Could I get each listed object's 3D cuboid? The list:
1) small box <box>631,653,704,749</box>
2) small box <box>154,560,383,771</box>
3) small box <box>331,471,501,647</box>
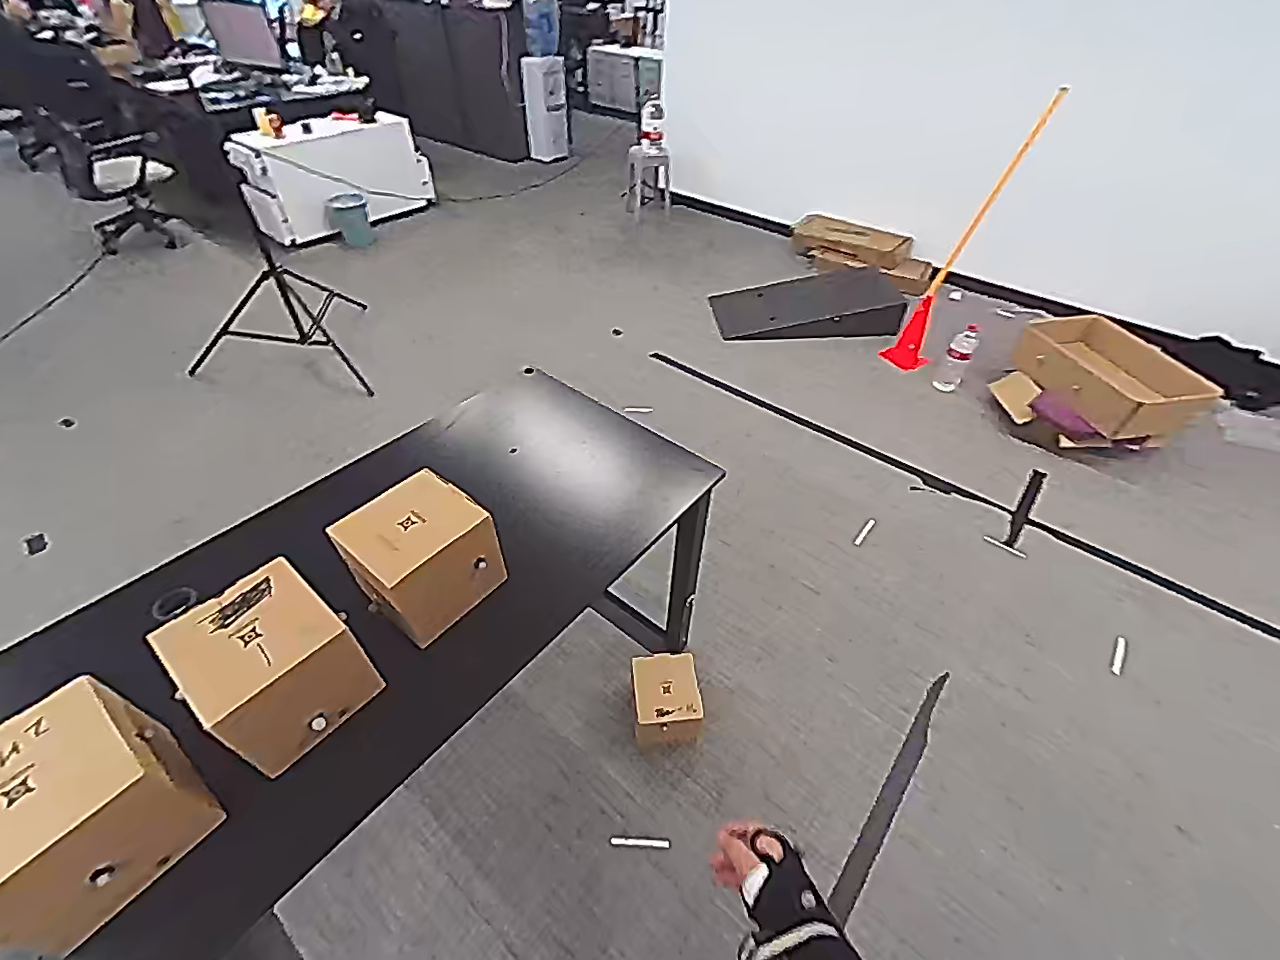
[{"bbox_3d":[0.067,0.586,1.436,0.168,0.176,0.179,-4,45,-6],"label":"small box"},{"bbox_3d":[-0.482,0.248,0.724,0.179,0.176,0.168,31,52,26],"label":"small box"},{"bbox_3d":[-0.340,0.123,0.857,0.168,0.176,0.179,30,52,27],"label":"small box"}]
